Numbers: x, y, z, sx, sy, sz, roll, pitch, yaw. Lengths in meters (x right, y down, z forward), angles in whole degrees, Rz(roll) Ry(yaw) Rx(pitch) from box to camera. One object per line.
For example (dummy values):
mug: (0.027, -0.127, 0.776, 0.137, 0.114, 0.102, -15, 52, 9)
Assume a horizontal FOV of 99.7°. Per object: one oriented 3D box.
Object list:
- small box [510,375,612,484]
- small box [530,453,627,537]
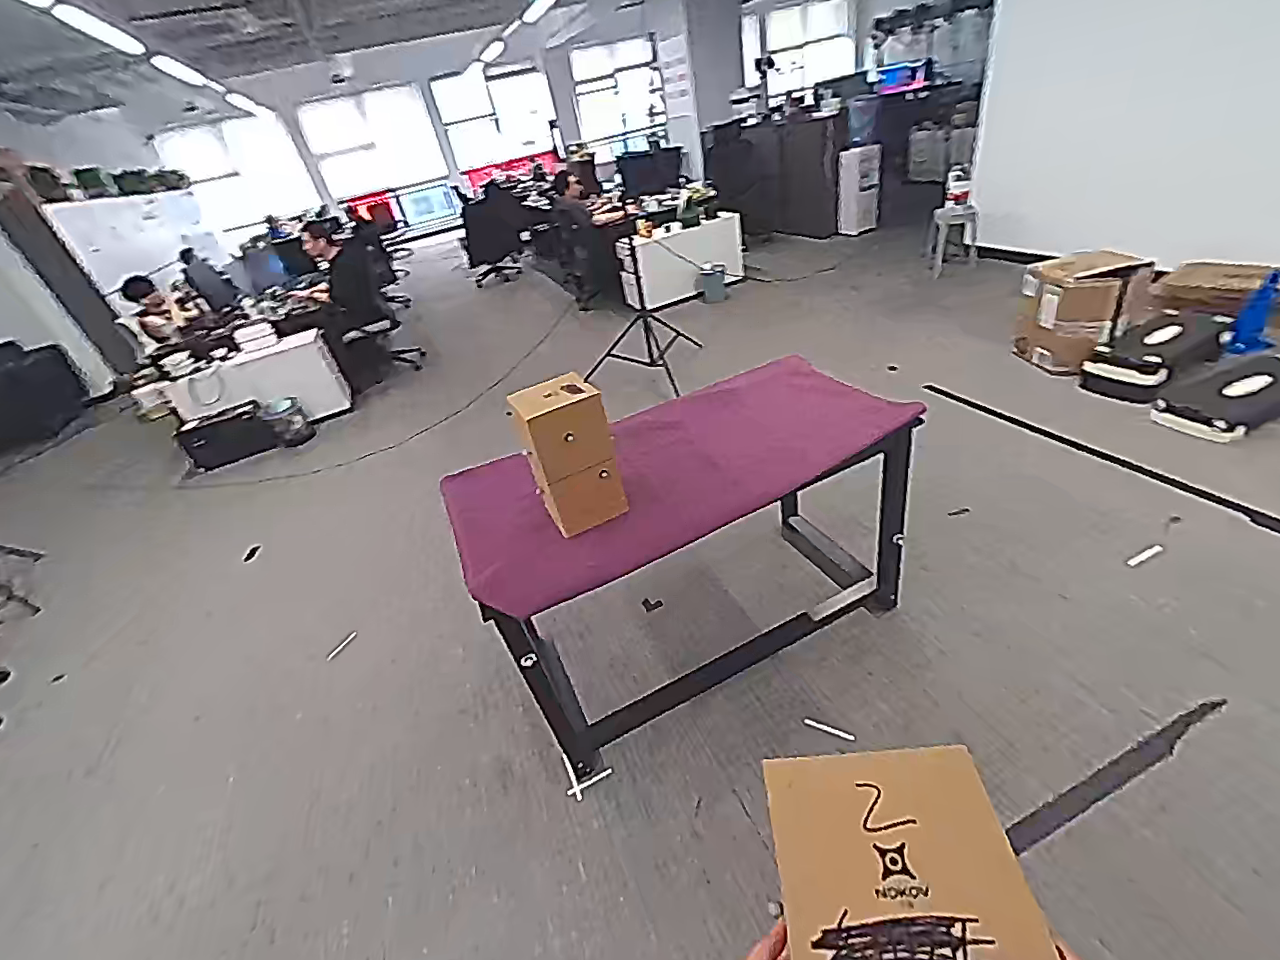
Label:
small box: (-0.177, -0.119, 1.255, 0.179, 0.176, 0.168, -24, 35, -16)
small box: (-0.150, 0.014, 1.348, 0.179, 0.176, 0.168, -23, 35, -16)
